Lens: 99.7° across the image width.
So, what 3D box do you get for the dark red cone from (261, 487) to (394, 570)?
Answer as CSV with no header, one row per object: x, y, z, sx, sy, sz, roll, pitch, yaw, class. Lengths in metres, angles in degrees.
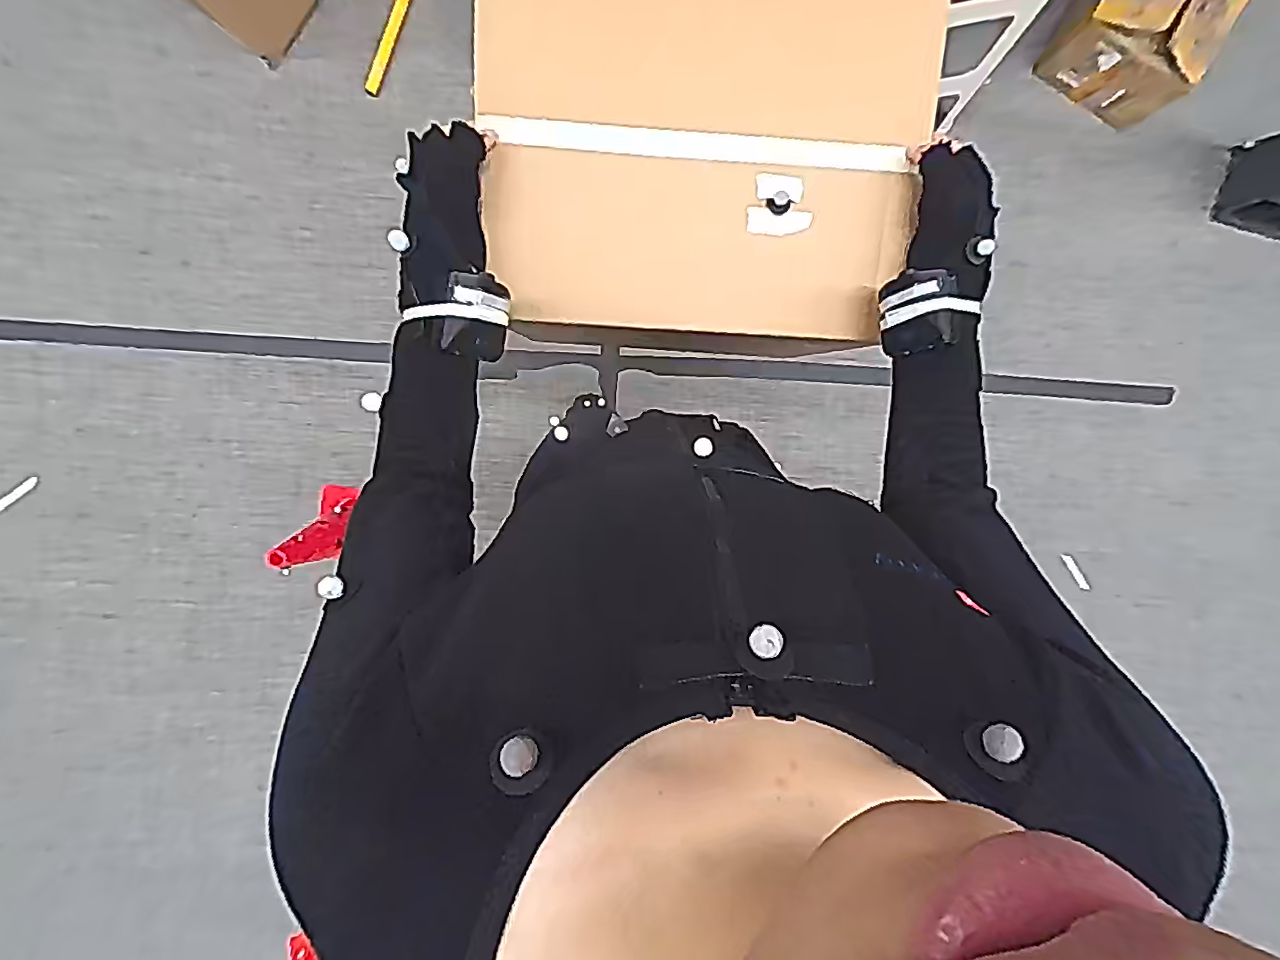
-0.740,0.141,1.250,0.201,0.394,0.202,9,95,-5,dark red cone

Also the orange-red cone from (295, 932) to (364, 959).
-0.893,1.424,1.397,0.198,0.360,0.199,1,97,-2,orange-red cone

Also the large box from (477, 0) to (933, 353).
0.046,-0.322,0.630,0.408,0.320,0.320,2,100,-4,large box
